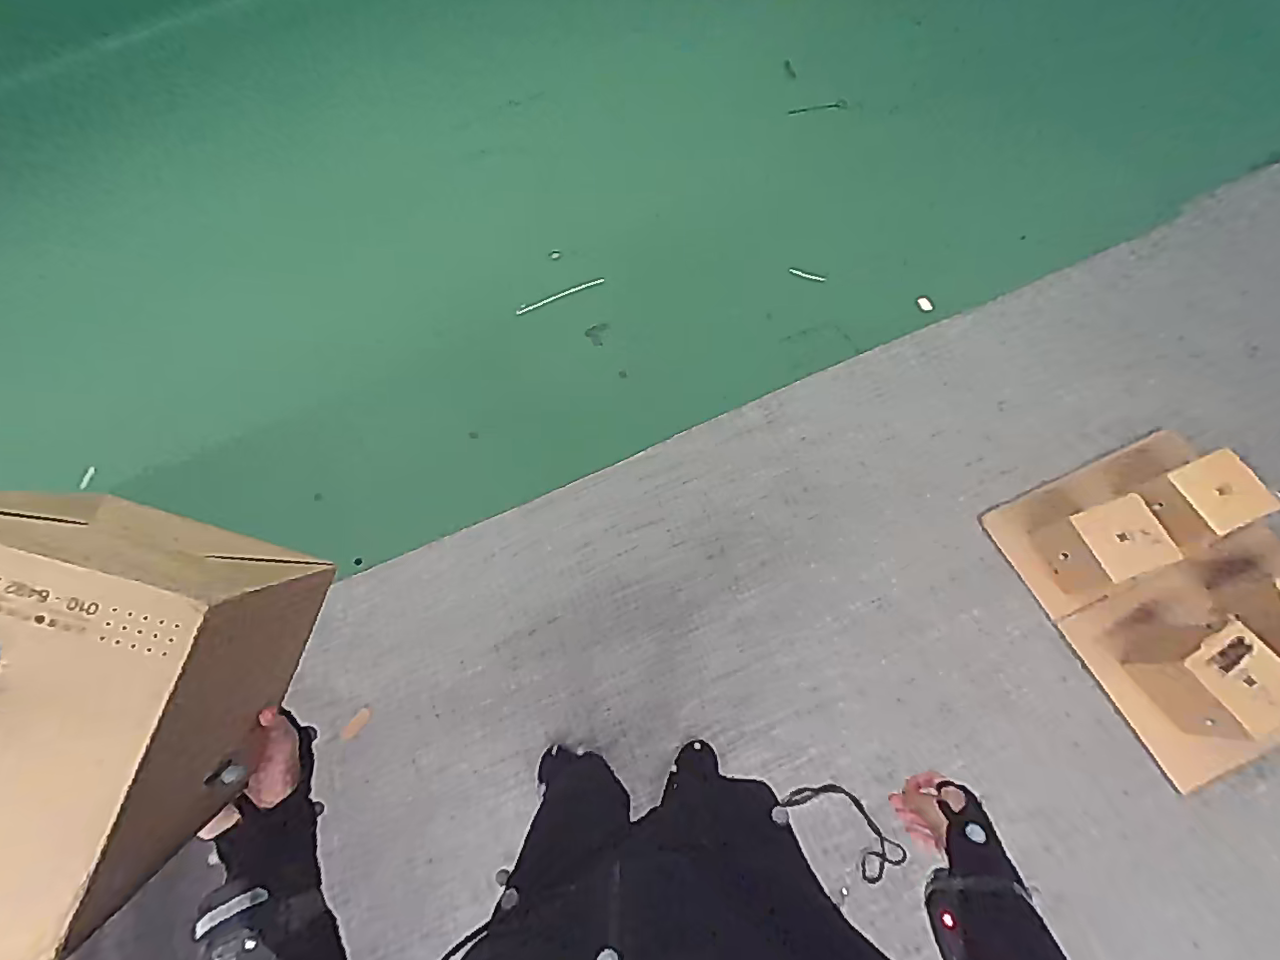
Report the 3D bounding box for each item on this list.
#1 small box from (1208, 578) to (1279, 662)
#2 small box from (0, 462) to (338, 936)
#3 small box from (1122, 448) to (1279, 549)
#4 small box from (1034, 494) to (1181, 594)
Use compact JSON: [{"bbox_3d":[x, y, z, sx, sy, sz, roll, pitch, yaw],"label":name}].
[{"bbox_3d":[1.443,0.306,1.191,0.179,0.176,0.168,-6,67,2],"label":"small box"},{"bbox_3d":[-0.307,0.094,0.309,0.168,0.179,0.176,21,82,-11],"label":"small box"},{"bbox_3d":[1.332,0.055,1.308,0.179,0.176,0.168,-22,68,-5],"label":"small box"},{"bbox_3d":[1.089,0.159,1.285,0.179,0.176,0.168,-18,68,-3],"label":"small box"}]
